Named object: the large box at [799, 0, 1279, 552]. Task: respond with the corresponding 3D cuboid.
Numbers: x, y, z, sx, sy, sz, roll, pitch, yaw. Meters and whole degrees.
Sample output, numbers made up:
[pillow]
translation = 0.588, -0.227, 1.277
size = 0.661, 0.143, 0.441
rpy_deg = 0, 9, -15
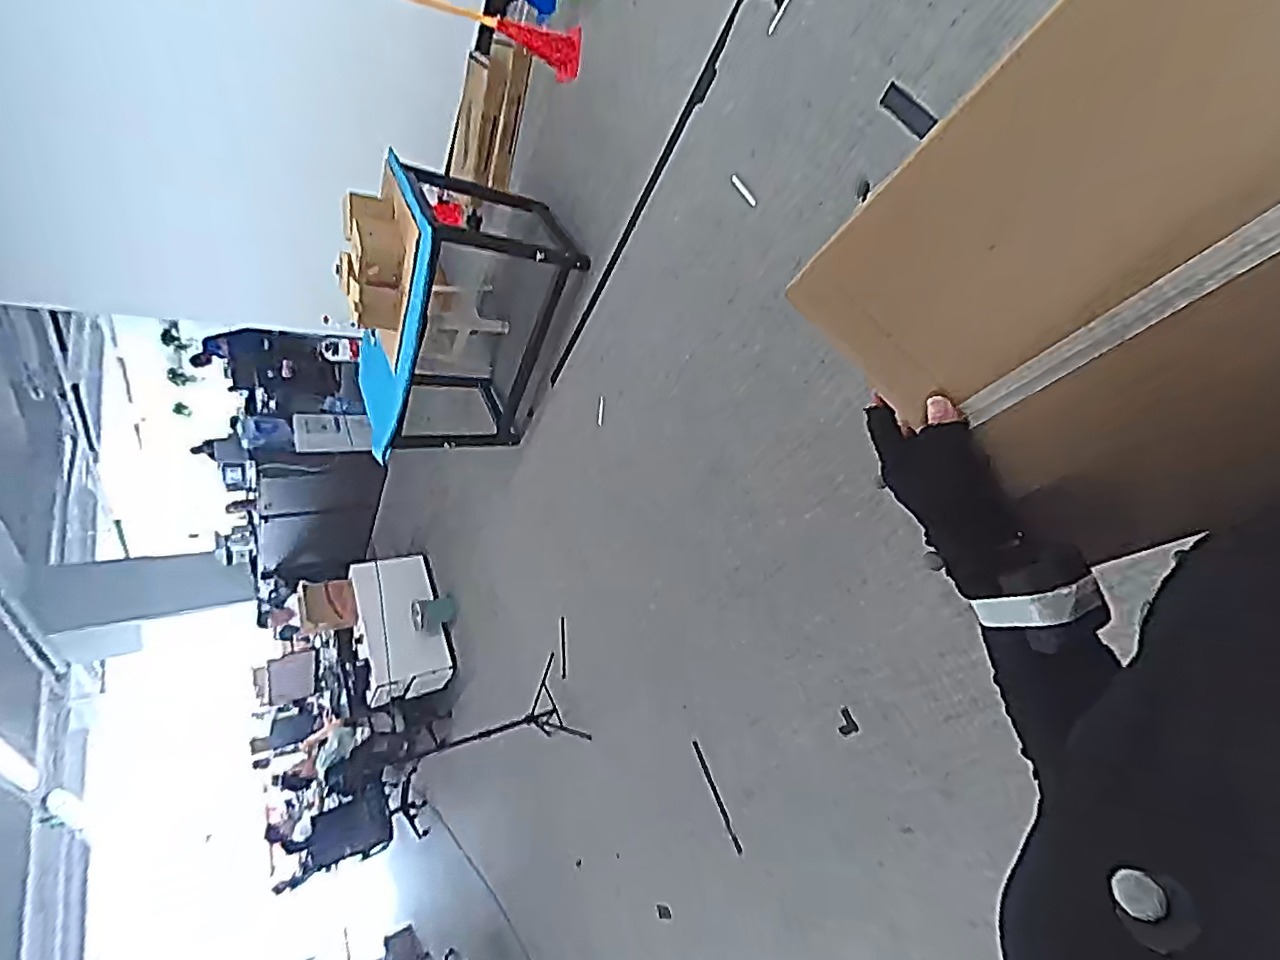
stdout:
[large box]
translation = 0.395, -0.219, 0.382
size = 0.320, 0.320, 0.408
rpy_deg = 43, 138, -3
